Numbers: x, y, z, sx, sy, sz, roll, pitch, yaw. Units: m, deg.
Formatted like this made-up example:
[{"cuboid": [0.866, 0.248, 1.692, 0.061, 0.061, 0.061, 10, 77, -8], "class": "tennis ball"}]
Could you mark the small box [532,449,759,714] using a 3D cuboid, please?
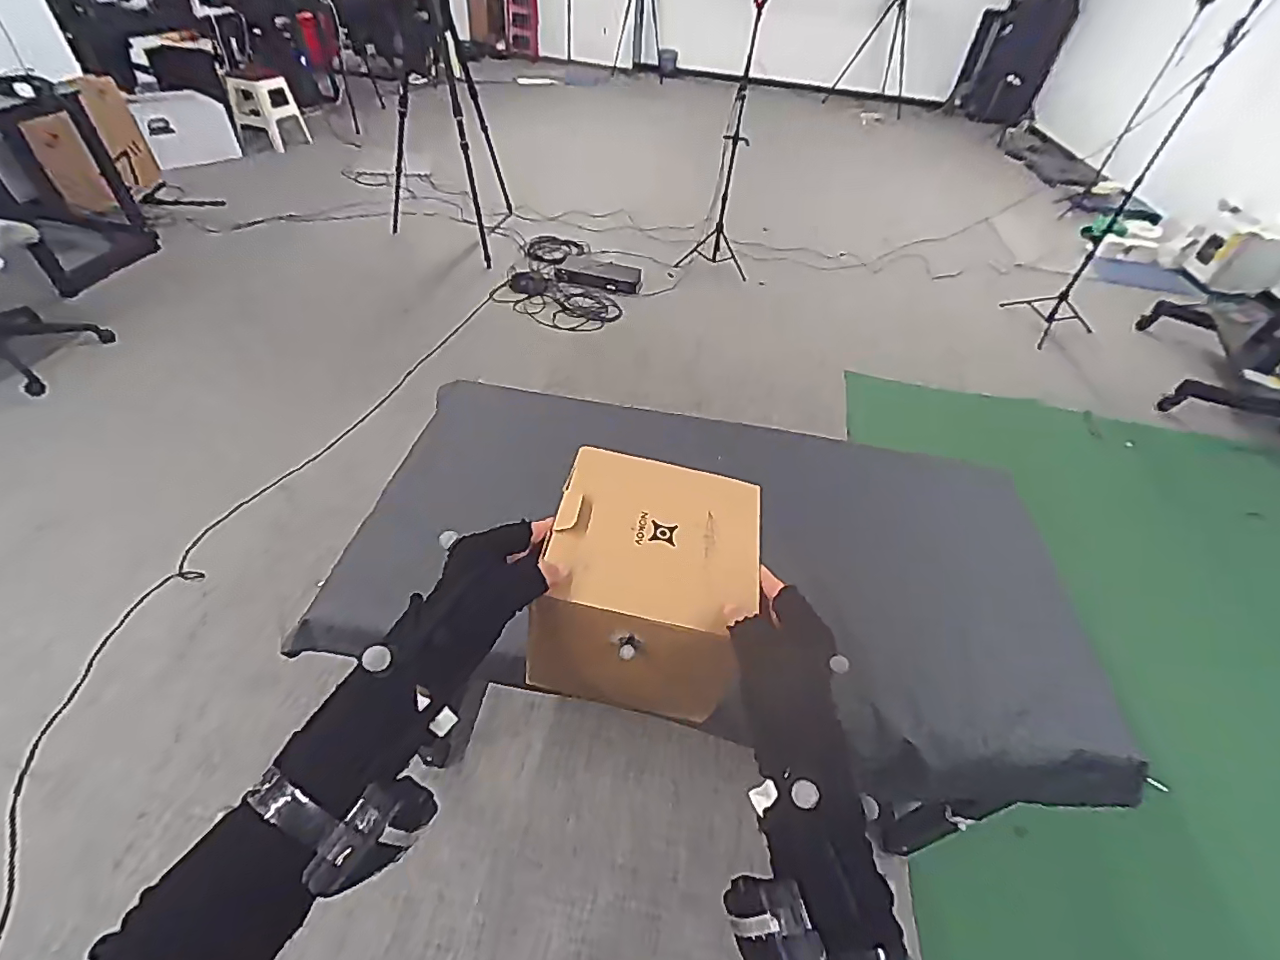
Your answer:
[{"cuboid": [0.002, 0.101, 0.513, 0.179, 0.176, 0.168, 14, 47, -1], "class": "small box"}]
